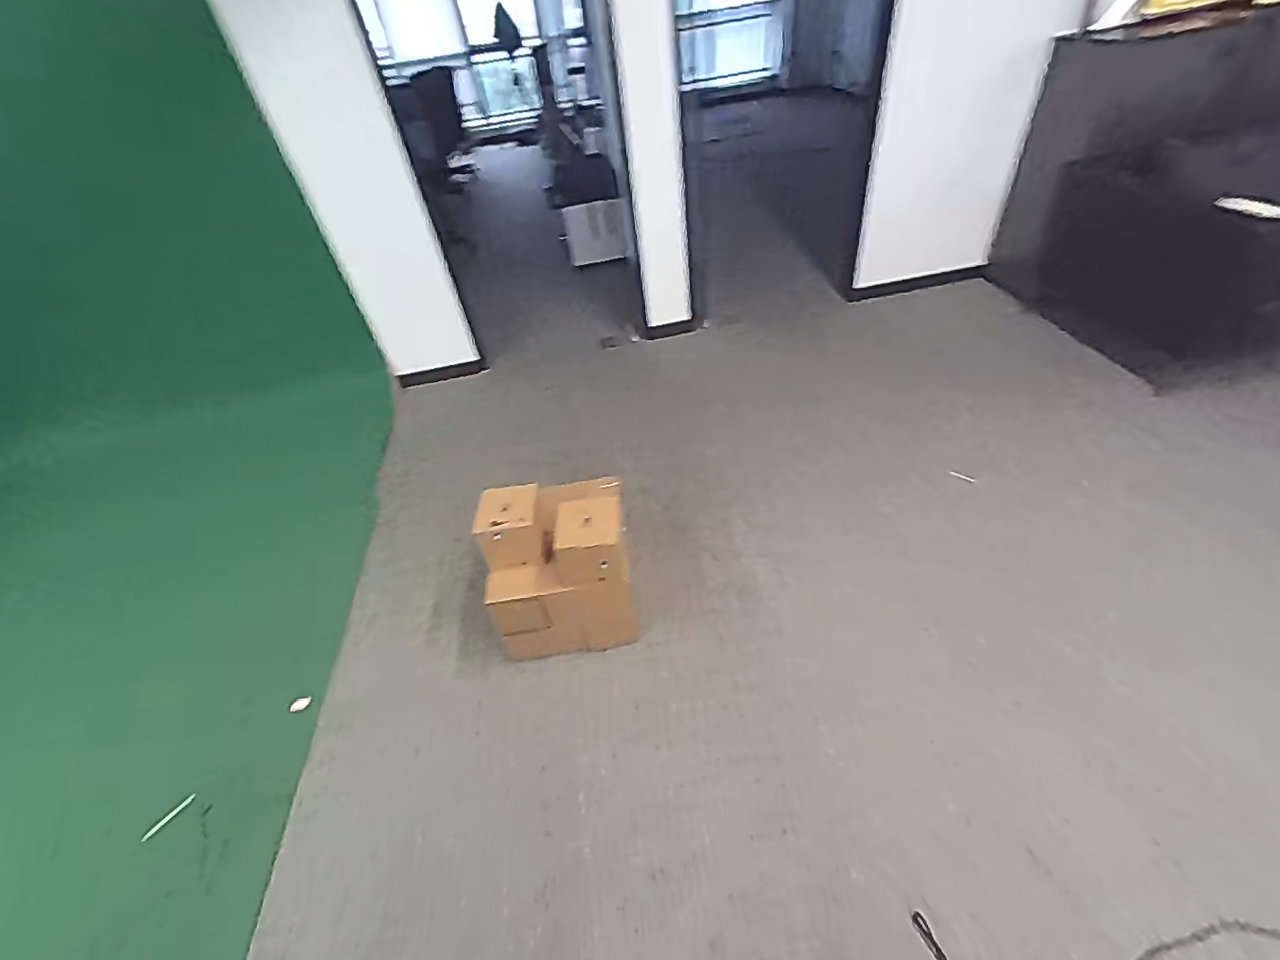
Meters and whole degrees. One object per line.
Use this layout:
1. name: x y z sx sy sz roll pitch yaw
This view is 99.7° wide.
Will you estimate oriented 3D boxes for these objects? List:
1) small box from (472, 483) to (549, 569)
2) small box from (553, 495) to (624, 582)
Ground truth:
1. small box: -0.367 0.134 1.566 0.168 0.176 0.179 -8 40 3
2. small box: -0.134 0.167 1.486 0.168 0.176 0.179 -5 41 2
